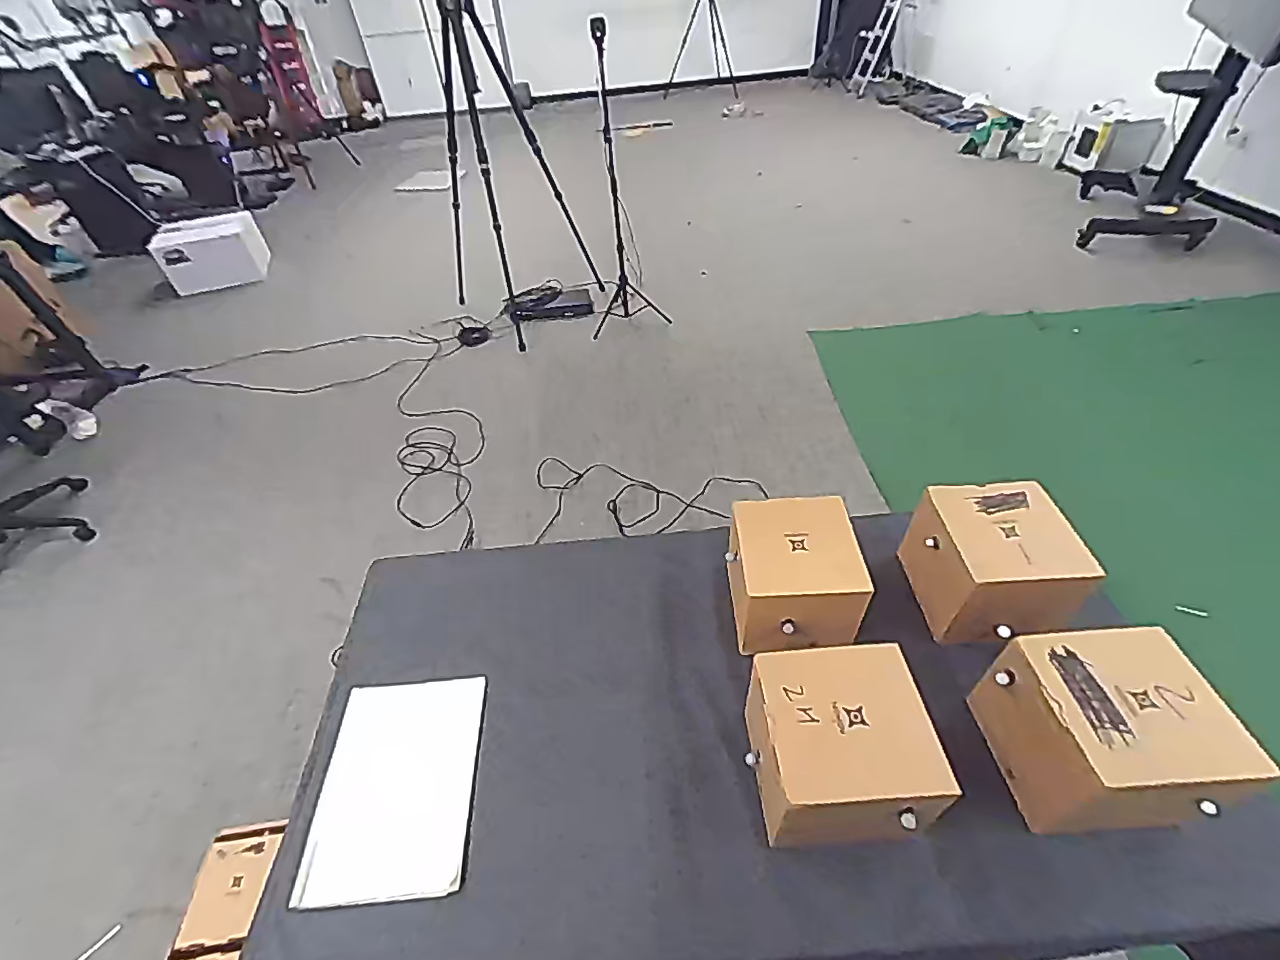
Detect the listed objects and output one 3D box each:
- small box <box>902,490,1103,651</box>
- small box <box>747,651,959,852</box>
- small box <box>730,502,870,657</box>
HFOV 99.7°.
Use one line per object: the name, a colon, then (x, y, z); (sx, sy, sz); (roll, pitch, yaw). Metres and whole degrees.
small box: (0.517, 0.135, 0.809); (0.168, 0.176, 0.179); (-3, 44, 3)
small box: (0.231, 0.323, 0.642); (0.179, 0.176, 0.168); (-4, 43, 2)
small box: (0.229, 0.156, 0.822); (0.168, 0.176, 0.179); (-3, 43, 3)
